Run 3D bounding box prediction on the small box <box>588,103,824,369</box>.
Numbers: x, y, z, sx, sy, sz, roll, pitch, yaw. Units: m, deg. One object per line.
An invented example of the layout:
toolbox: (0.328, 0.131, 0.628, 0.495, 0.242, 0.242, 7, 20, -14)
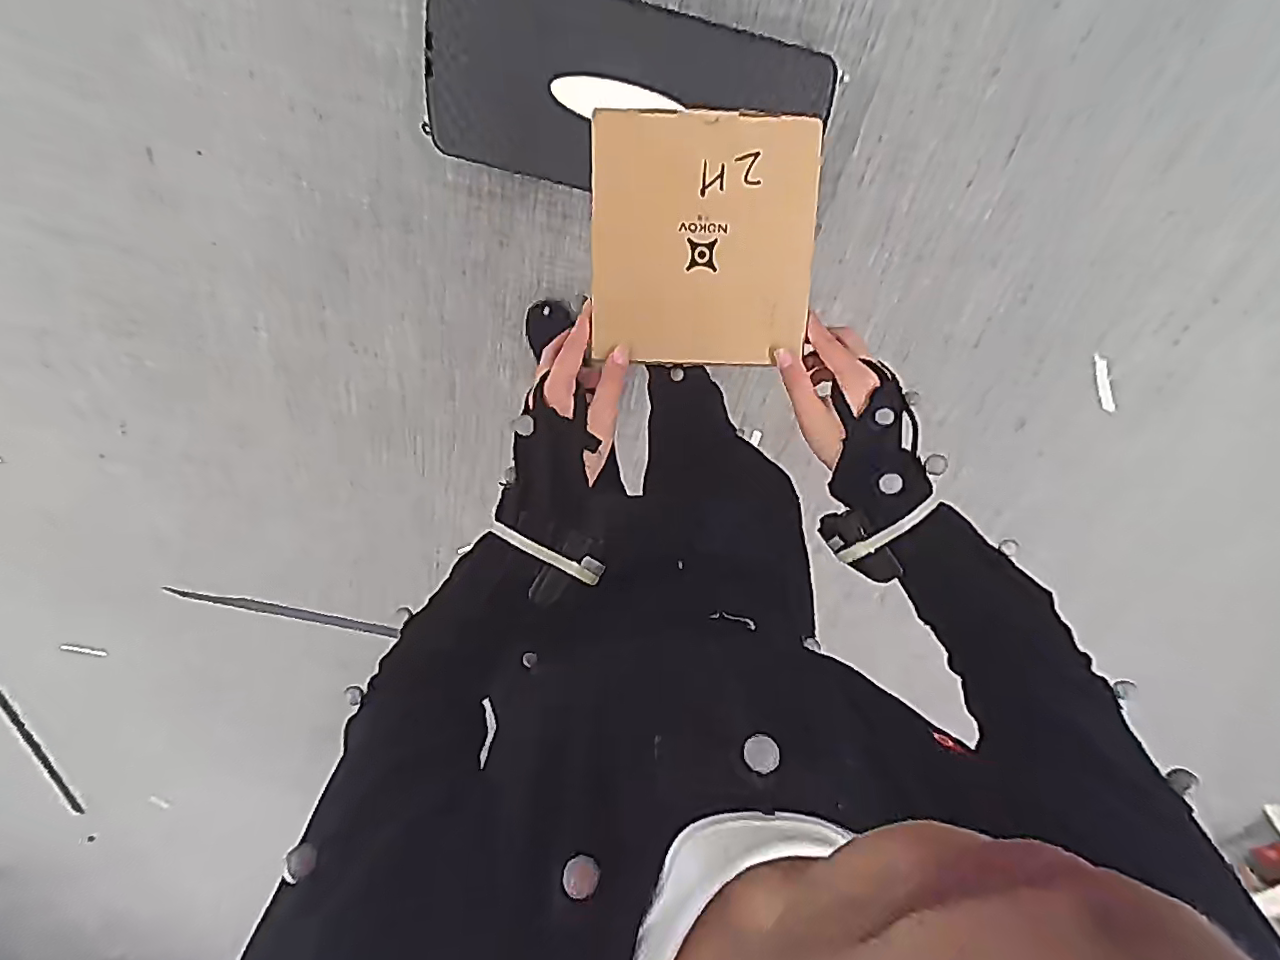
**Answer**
small box: (0.042, -0.189, 0.470, 0.168, 0.176, 0.179, 1, 102, -3)
